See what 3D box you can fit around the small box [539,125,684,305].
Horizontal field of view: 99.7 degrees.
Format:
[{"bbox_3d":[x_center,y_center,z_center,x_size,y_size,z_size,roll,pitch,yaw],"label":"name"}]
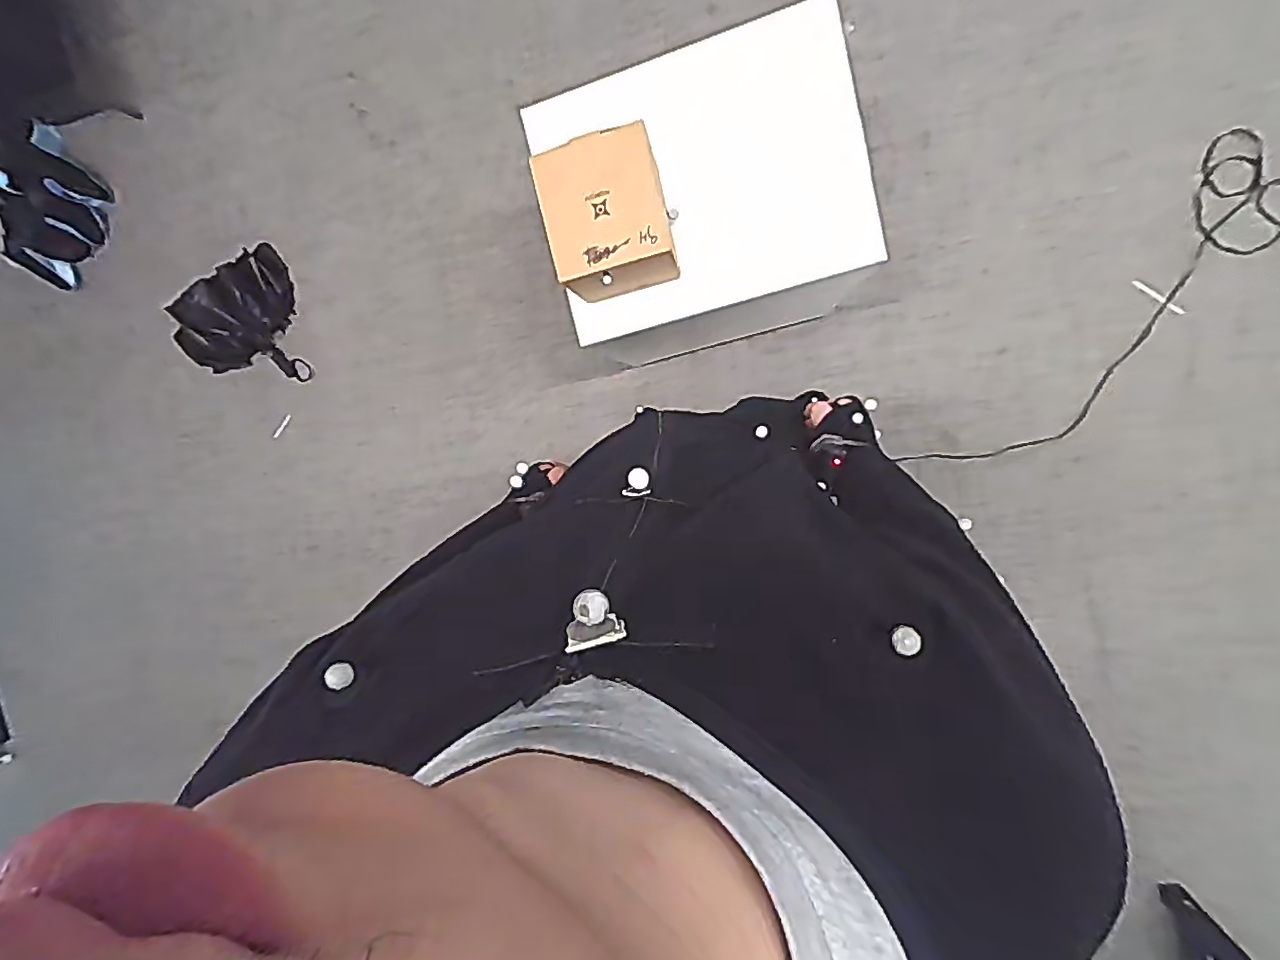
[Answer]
[{"bbox_3d":[-0.034,-0.384,0.818,0.168,0.176,0.179,-11,95,11],"label":"small box"}]
